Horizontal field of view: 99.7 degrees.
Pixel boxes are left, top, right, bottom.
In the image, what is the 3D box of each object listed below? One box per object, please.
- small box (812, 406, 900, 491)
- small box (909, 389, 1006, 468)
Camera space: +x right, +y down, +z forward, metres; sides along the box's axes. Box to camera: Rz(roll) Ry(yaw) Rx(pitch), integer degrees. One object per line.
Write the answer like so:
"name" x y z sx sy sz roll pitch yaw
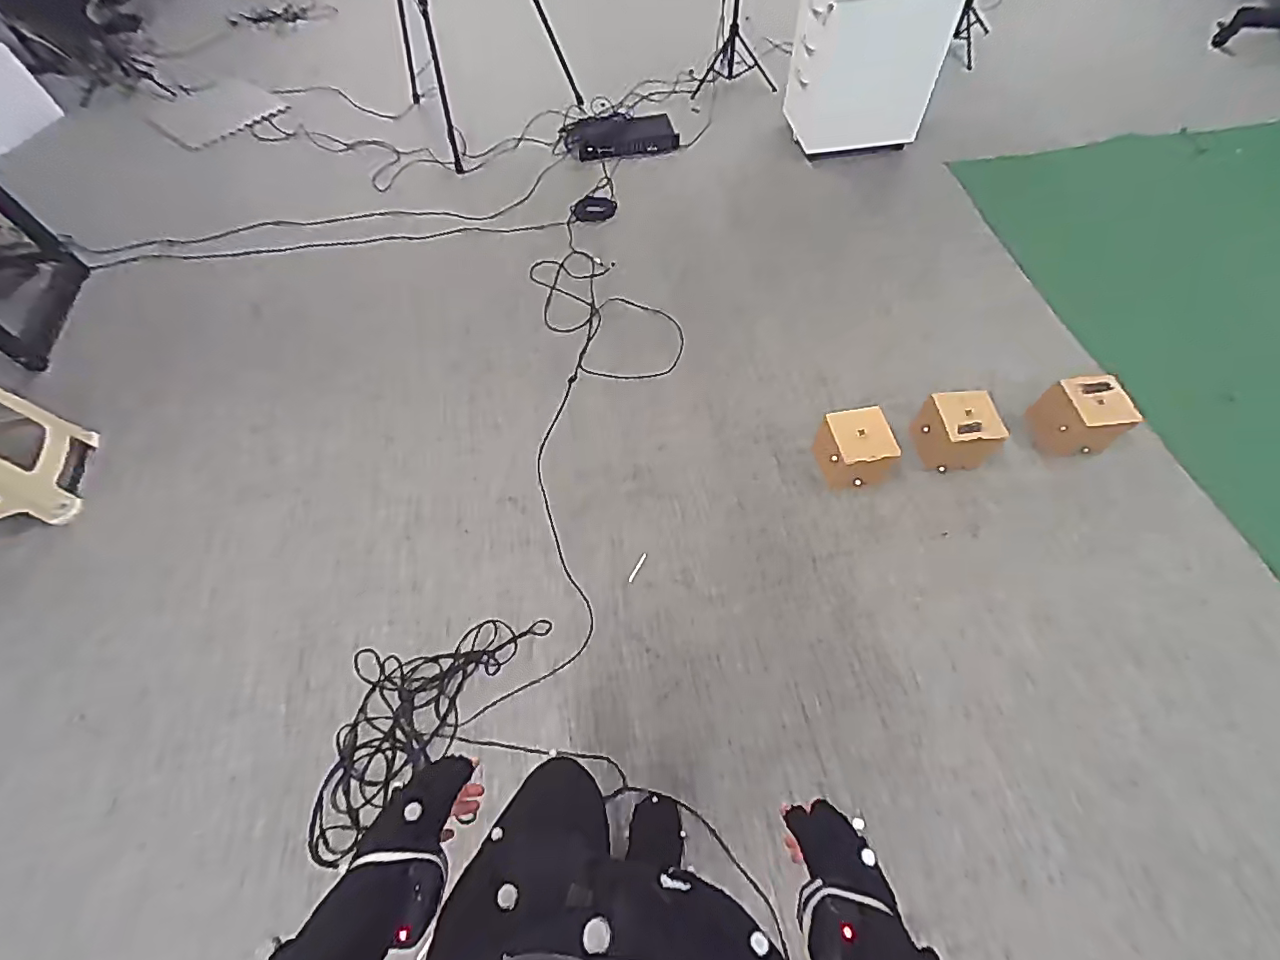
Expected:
"small box" 0.627 -0.092 1.595 0.168 0.176 0.179 -9 60 -3
"small box" 0.937 -0.147 1.612 0.168 0.176 0.179 -4 58 0
